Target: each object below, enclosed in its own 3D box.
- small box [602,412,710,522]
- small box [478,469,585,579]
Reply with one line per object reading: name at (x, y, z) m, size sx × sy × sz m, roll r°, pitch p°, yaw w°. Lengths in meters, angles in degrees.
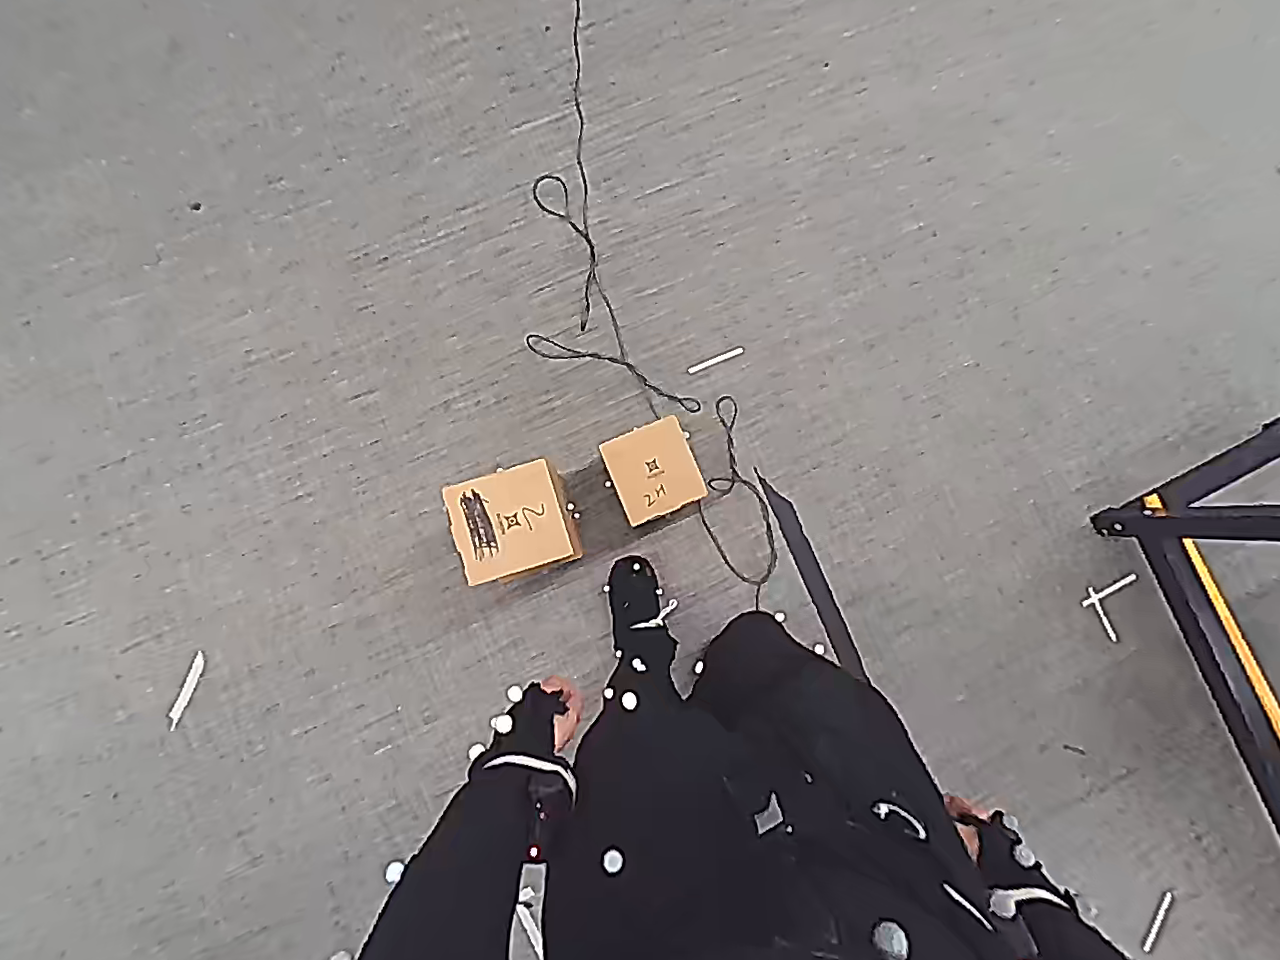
small box at (0.027, -0.020, 1.128) m, size 0.168 × 0.176 × 0.179 m, roll -22°, pitch 88°, yaw -3°
small box at (-0.214, 0.088, 1.106) m, size 0.168 × 0.176 × 0.179 m, roll -17°, pitch 88°, yaw -4°
